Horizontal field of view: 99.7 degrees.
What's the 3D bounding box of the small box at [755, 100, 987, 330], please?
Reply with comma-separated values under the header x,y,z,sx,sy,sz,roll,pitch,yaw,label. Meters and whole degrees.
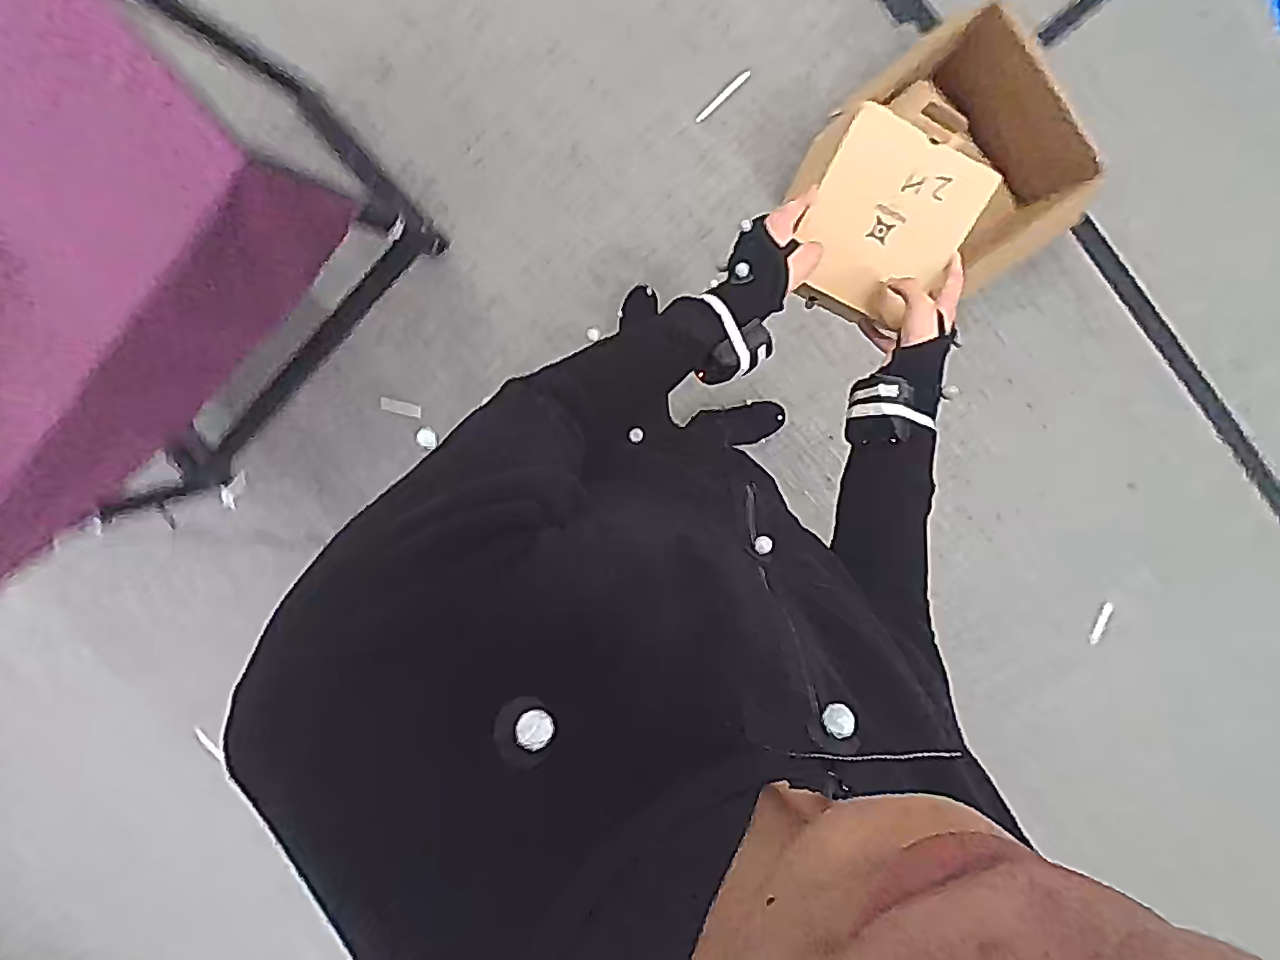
x,y,z,sx,sy,sz,roll,pitch,yaw,label
0.253,-0.301,0.649,0.168,0.176,0.179,23,108,-8,small box
